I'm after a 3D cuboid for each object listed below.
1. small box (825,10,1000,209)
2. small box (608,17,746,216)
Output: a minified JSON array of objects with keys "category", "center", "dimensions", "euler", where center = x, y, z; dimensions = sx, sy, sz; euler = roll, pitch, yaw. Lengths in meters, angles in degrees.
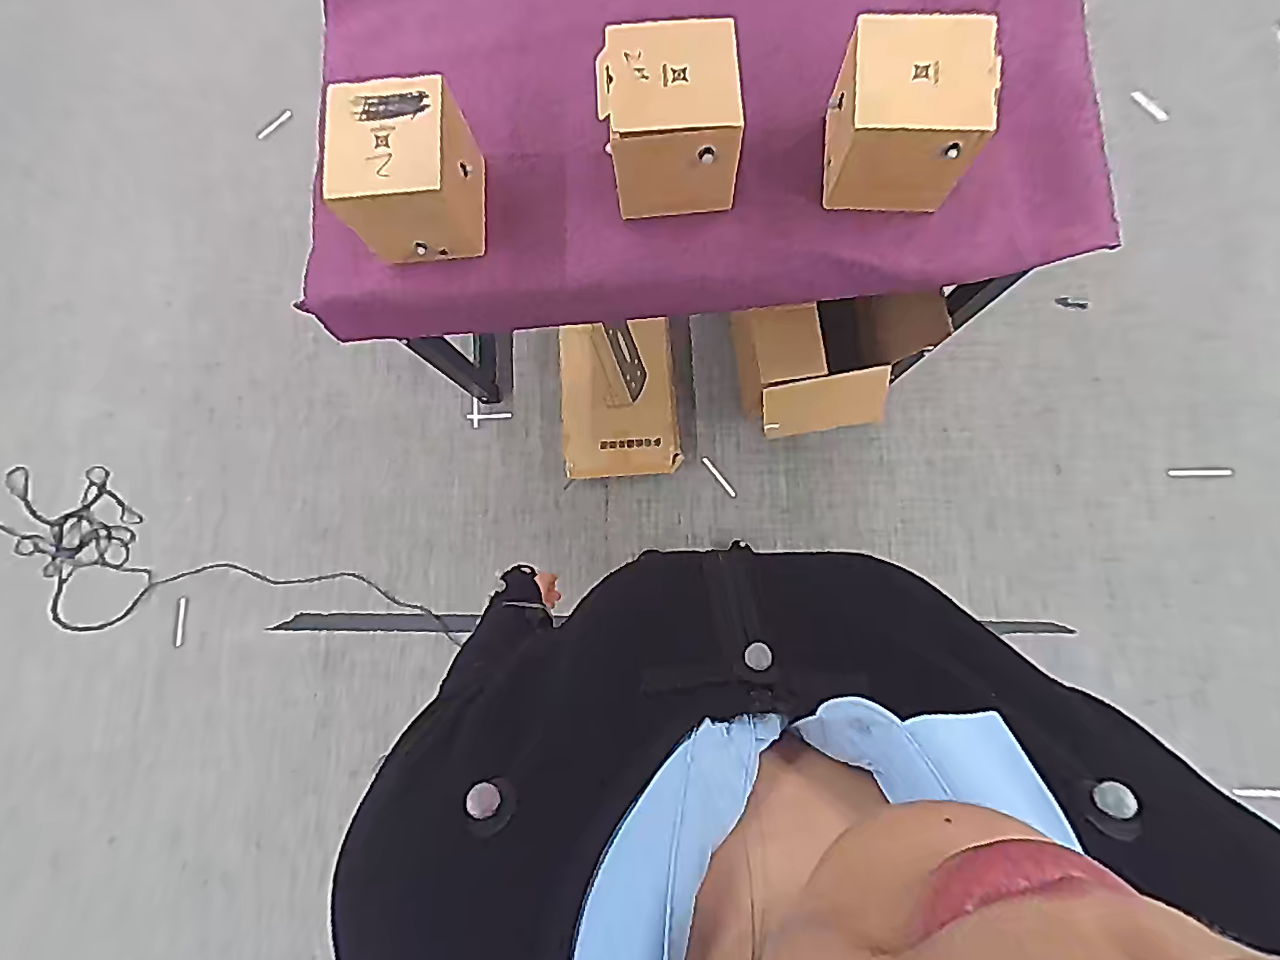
[{"category":"small box","center":[0.369,-0.508,0.761],"dimensions":[0.179,0.176,0.168],"euler":[4,83,4]},{"category":"small box","center":[0.051,-0.512,0.784],"dimensions":[0.179,0.176,0.168],"euler":[-4,80,4]}]
